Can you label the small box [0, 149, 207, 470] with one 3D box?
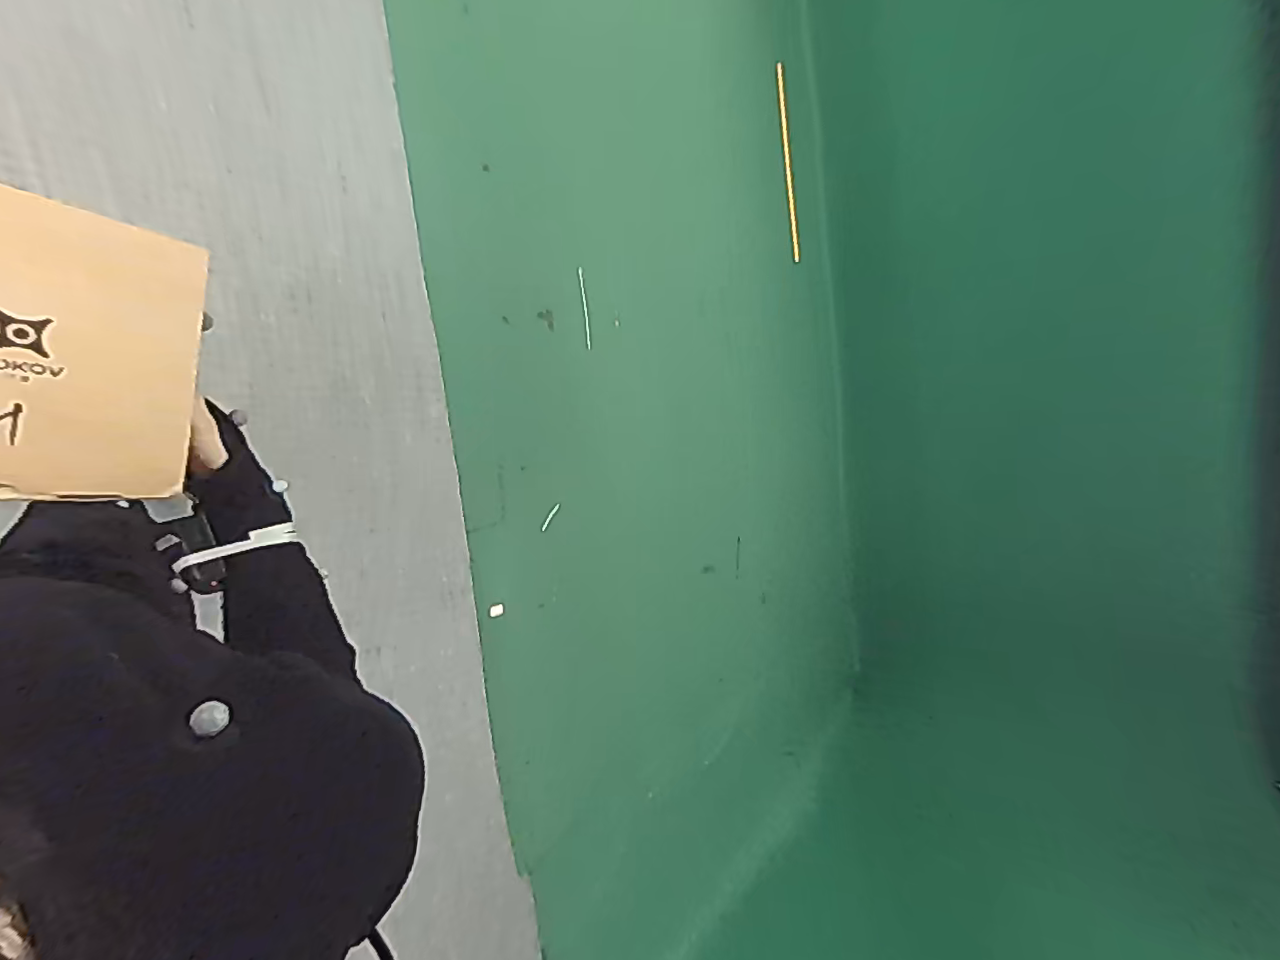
[{"bbox_3d":[-0.424,-0.106,0.355,0.168,0.176,0.179,5,94,-57],"label":"small box"}]
